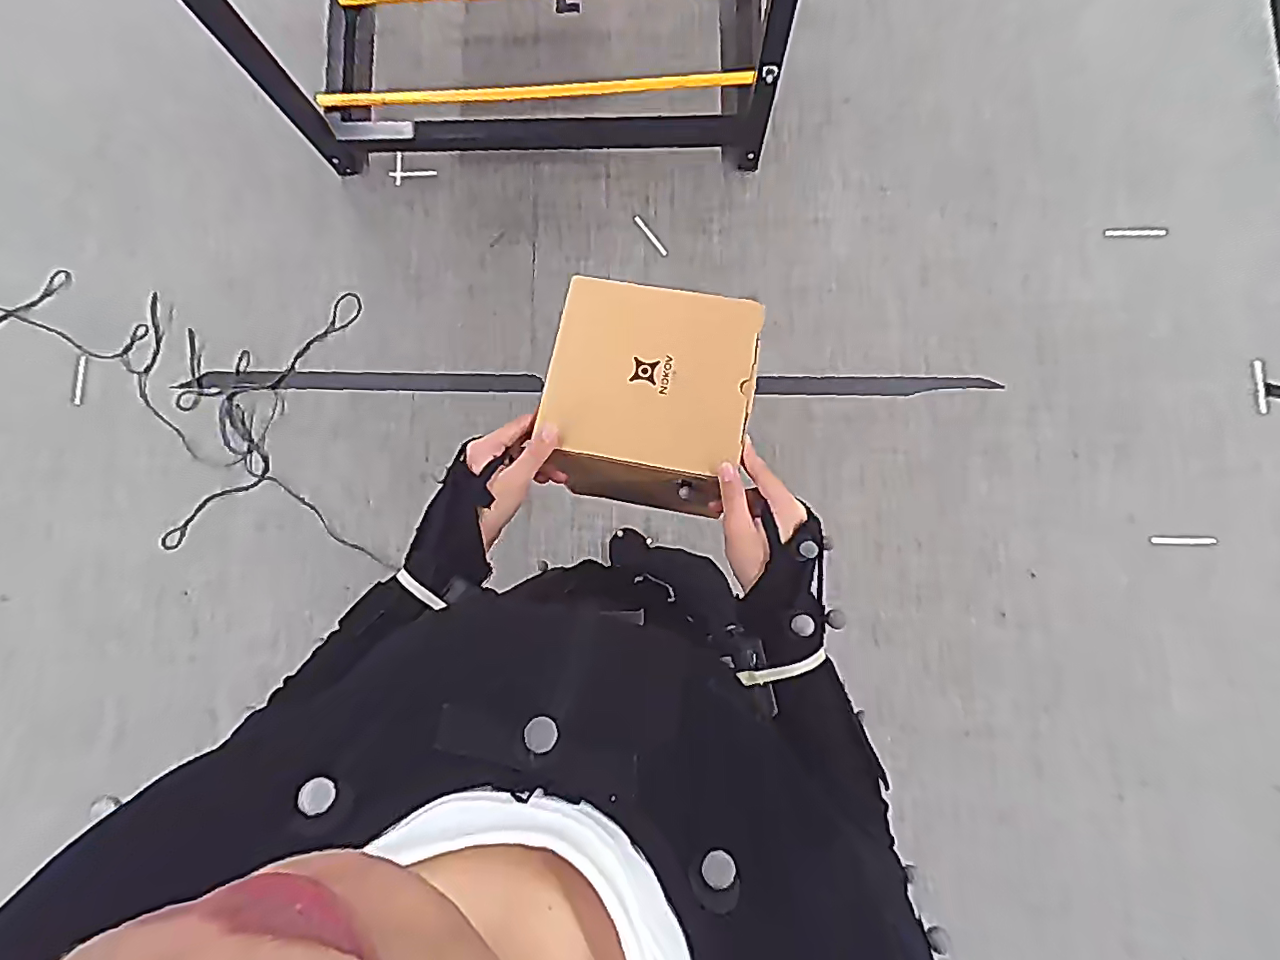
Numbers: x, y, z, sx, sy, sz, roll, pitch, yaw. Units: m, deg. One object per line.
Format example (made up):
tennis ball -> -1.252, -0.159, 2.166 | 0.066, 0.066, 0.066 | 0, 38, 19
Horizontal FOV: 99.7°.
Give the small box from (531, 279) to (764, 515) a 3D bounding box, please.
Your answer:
small box -> 0.013, -0.070, 0.539 | 0.179, 0.176, 0.168 | 10, 76, 6
